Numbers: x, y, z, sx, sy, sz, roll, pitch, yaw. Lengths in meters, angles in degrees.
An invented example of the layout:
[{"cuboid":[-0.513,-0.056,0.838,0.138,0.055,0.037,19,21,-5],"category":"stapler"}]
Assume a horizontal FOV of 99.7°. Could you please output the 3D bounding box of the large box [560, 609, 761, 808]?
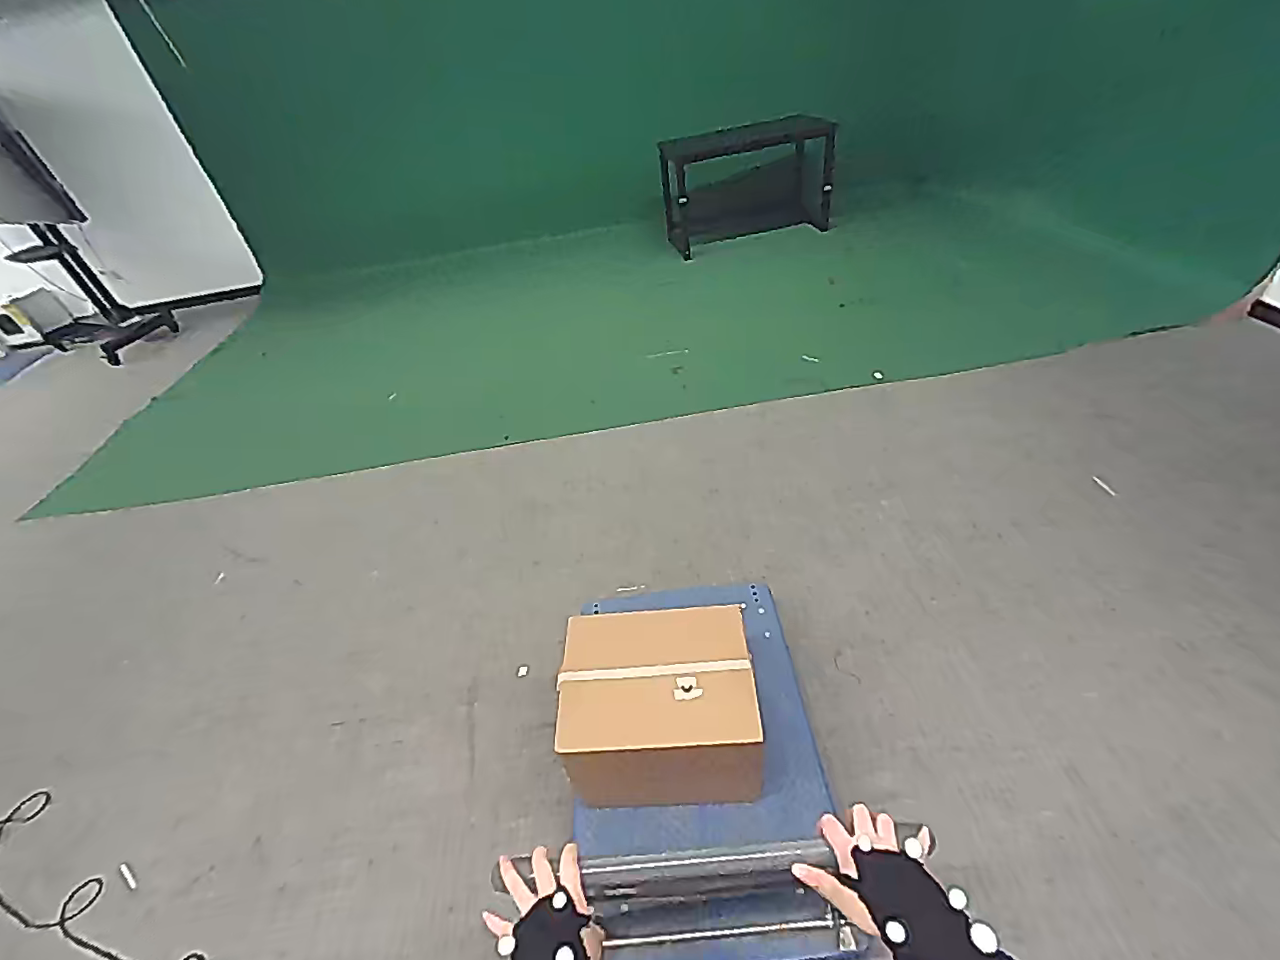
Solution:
[{"cuboid":[0.048,0.531,1.258,0.408,0.320,0.320,-5,41,3],"category":"large box"}]
